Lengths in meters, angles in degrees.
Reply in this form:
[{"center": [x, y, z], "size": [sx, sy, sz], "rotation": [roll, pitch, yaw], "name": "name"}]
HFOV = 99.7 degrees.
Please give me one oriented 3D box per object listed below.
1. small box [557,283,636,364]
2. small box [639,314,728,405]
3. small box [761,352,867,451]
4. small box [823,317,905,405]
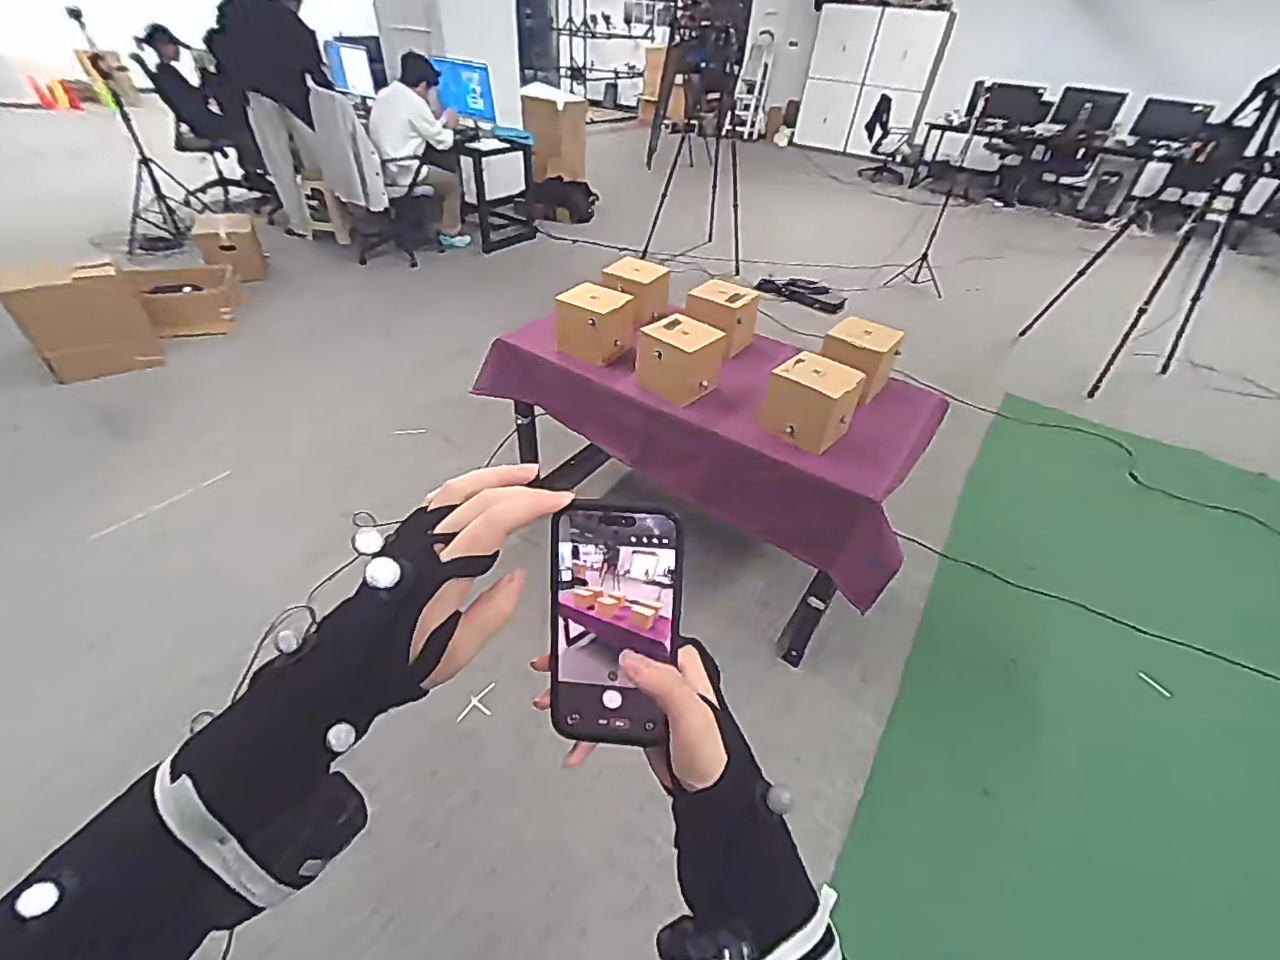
[{"center": [-0.133, -0.470, 1.629], "size": [0.179, 0.176, 0.168], "rotation": [24, 43, 19], "name": "small box"}, {"center": [0.113, -0.332, 1.492], "size": [0.179, 0.176, 0.168], "rotation": [33, 48, 27], "name": "small box"}, {"center": [0.433, -0.193, 1.364], "size": [0.179, 0.176, 0.168], "rotation": [33, 47, 29], "name": "small box"}, {"center": [0.628, -0.343, 1.558], "size": [0.168, 0.176, 0.179], "rotation": [30, 47, 27], "name": "small box"}]
